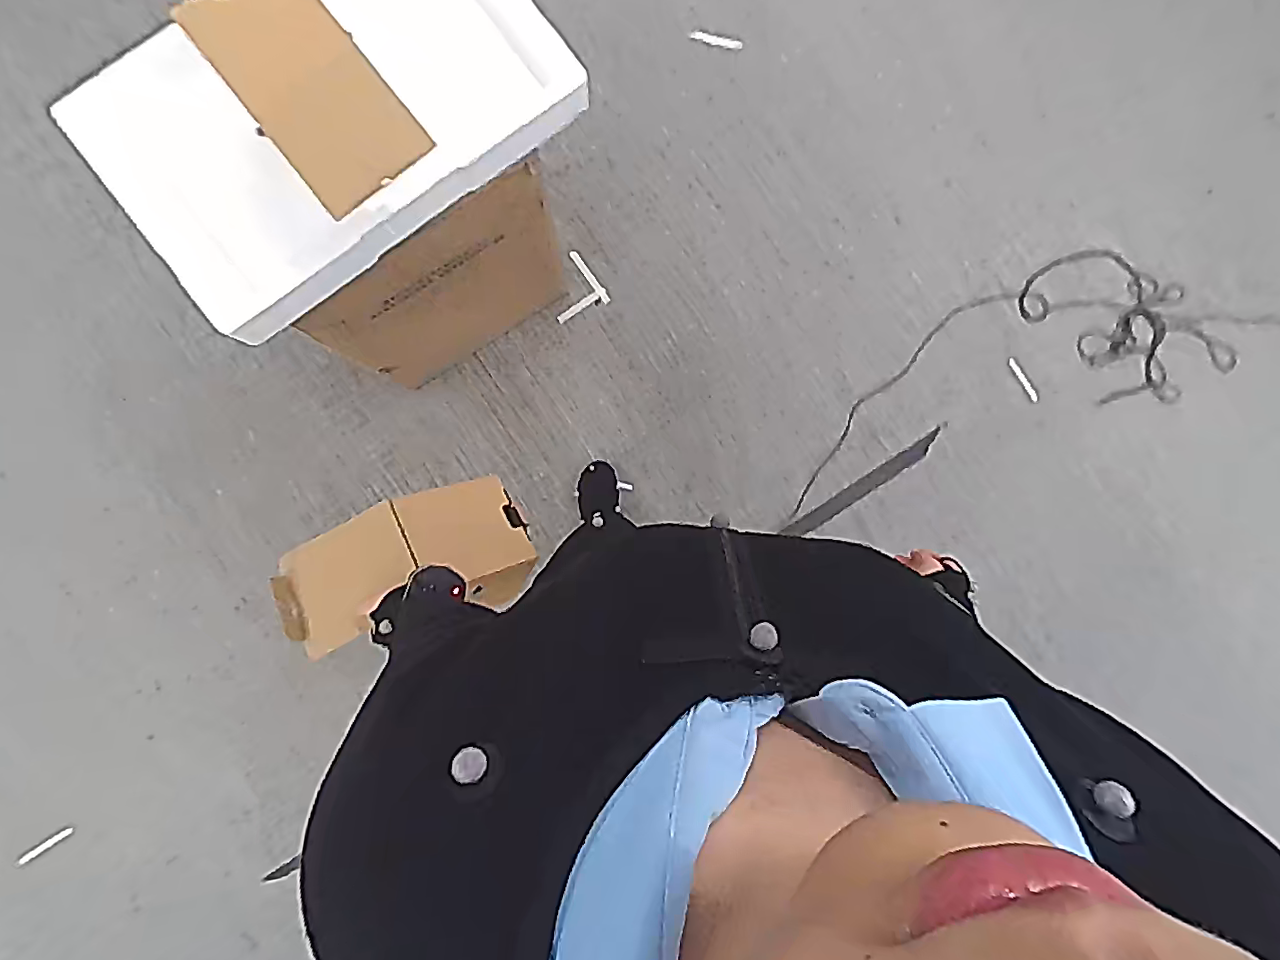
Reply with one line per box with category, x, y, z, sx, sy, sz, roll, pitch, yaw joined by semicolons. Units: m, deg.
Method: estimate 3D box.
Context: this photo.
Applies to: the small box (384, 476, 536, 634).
small box;-0.294;0.121;0.863;0.179;0.176;0.168;-17;66;-37
